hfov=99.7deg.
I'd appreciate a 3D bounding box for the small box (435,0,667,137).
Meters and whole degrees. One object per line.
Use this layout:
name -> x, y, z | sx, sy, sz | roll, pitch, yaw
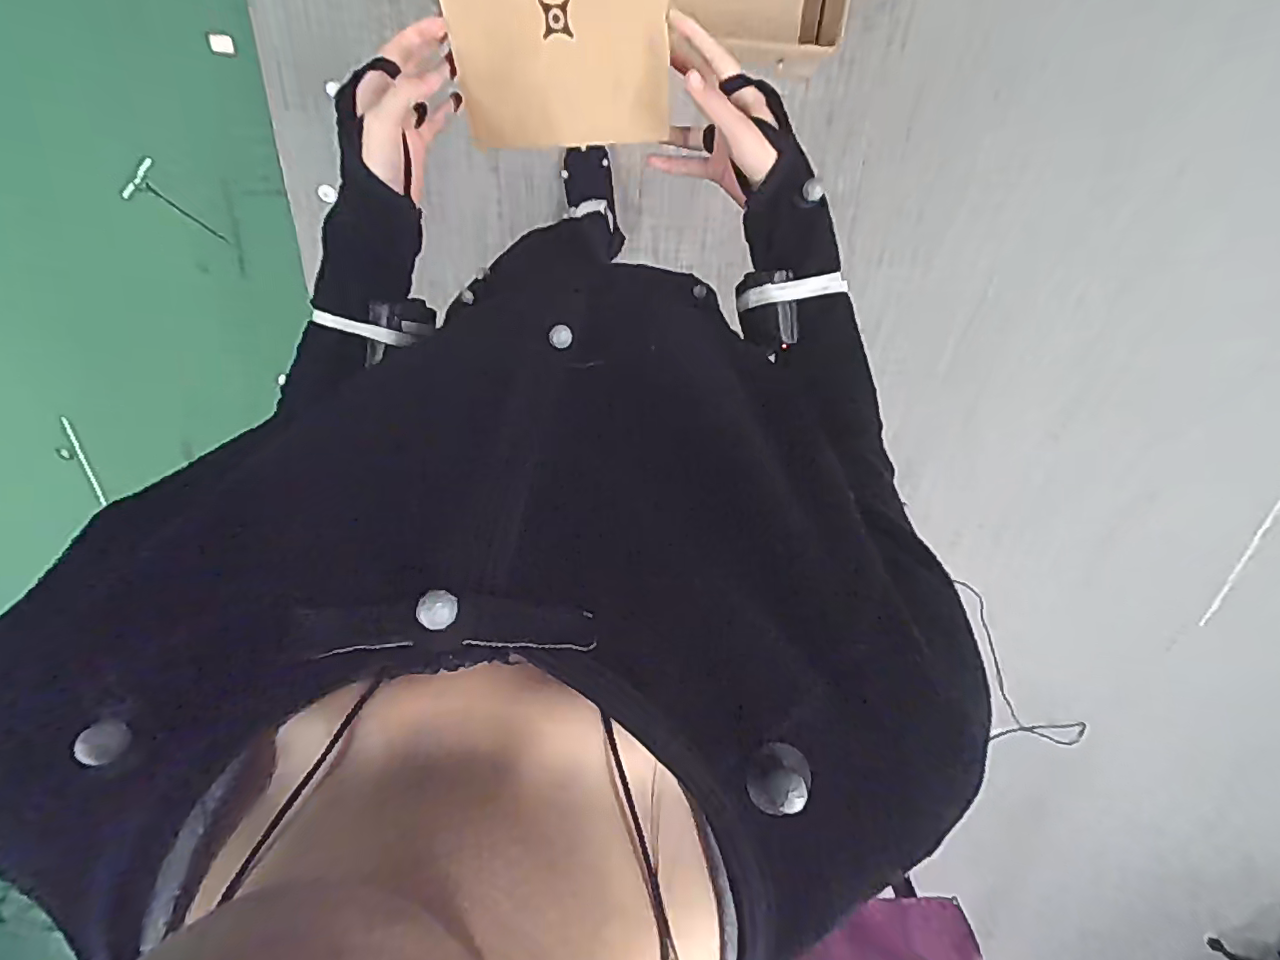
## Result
small box -> -0.062, -0.401, 0.435 | 0.168, 0.176, 0.179 | -1, 136, 3
